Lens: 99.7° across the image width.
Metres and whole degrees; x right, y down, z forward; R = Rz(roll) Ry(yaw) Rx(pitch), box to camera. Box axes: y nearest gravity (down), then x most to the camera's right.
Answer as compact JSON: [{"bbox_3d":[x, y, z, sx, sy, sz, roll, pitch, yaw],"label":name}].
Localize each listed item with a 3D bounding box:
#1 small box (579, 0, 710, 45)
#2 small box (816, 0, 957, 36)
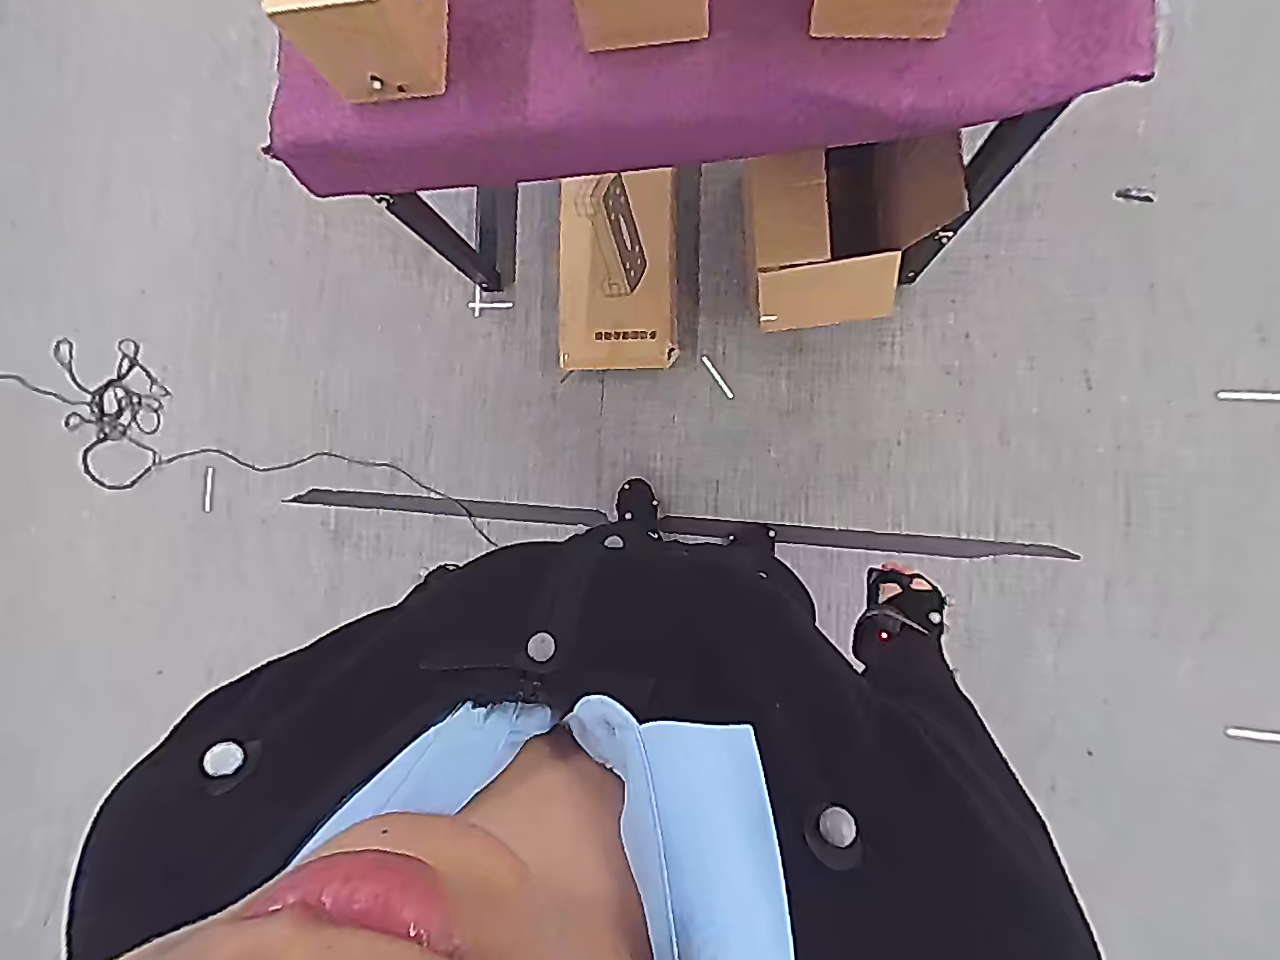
[{"bbox_3d":[0.005,-0.710,0.696,0.179,0.176,0.168,1,86,9],"label":"small box"},{"bbox_3d":[0.319,-0.681,0.650,0.179,0.176,0.168,8,90,8],"label":"small box"}]
